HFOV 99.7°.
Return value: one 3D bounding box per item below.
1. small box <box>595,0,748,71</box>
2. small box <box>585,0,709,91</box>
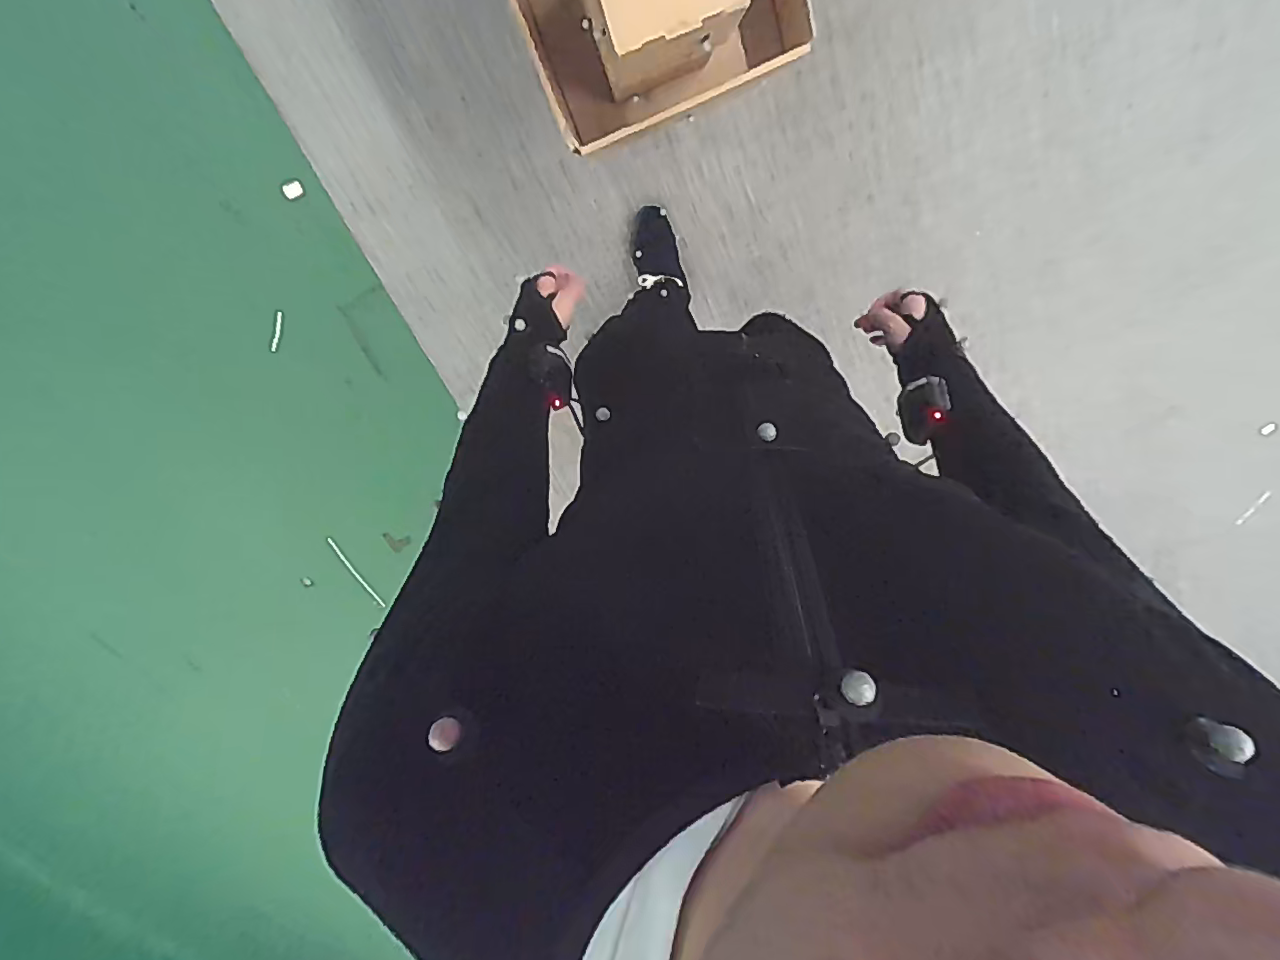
[{"bbox_3d":[0.022,-0.632,0.658,0.168,0.176,0.179,-17,115,6],"label":"small box"},{"bbox_3d":[0.008,-0.710,0.801,0.168,0.176,0.179,-19,115,8],"label":"small box"}]
